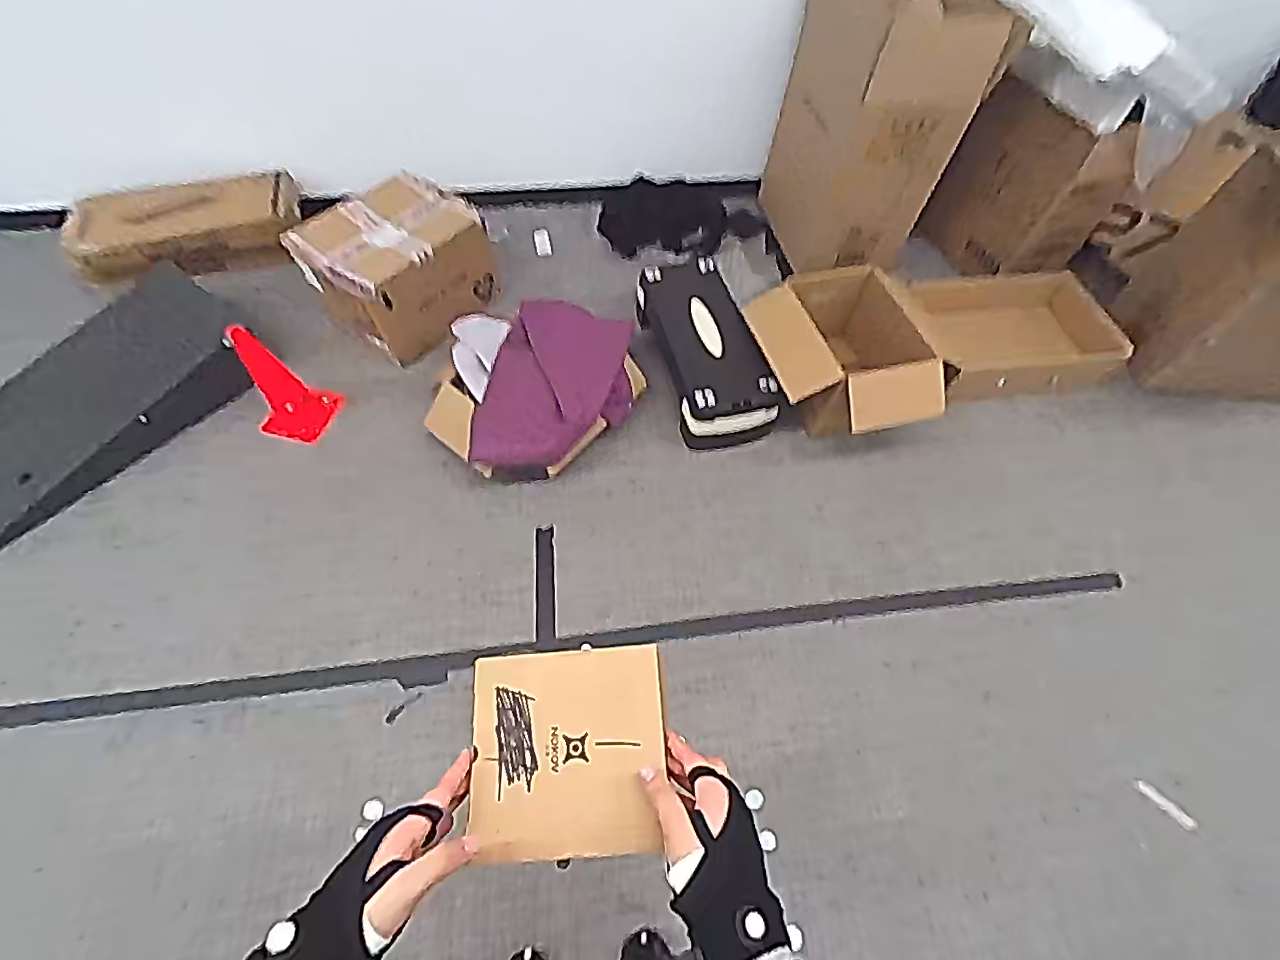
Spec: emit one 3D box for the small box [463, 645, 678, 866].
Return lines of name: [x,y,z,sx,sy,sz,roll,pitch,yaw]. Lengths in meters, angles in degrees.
small box: [-0.056,0.266,0.539,0.179,0.176,0.168,-5,65,2]
